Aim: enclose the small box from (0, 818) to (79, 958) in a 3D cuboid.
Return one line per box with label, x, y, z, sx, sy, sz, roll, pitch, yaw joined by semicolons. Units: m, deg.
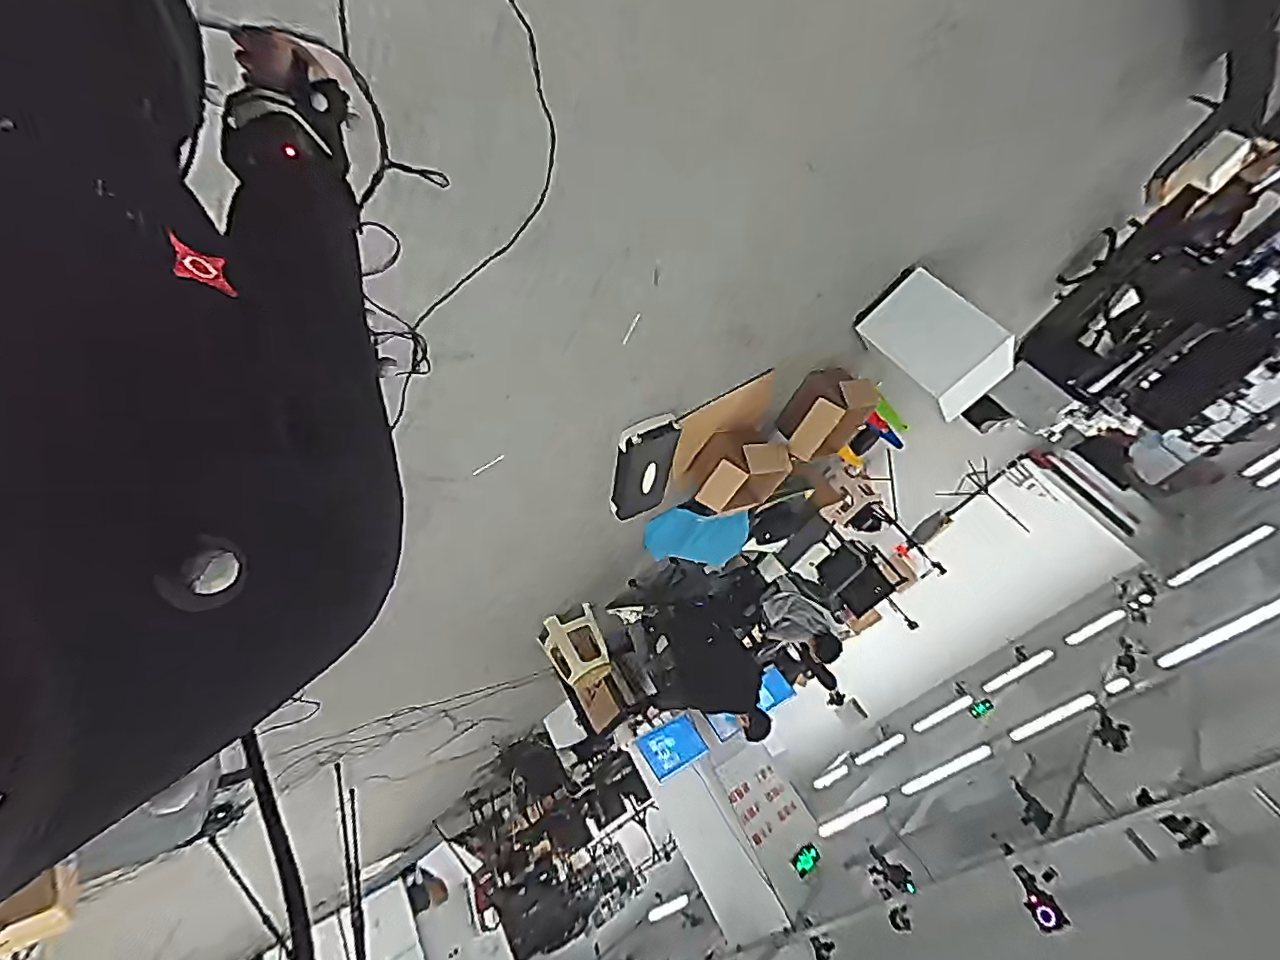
small box;-1.153;0.748;0.977;0.168;0.176;0.179;-9;144;-39
